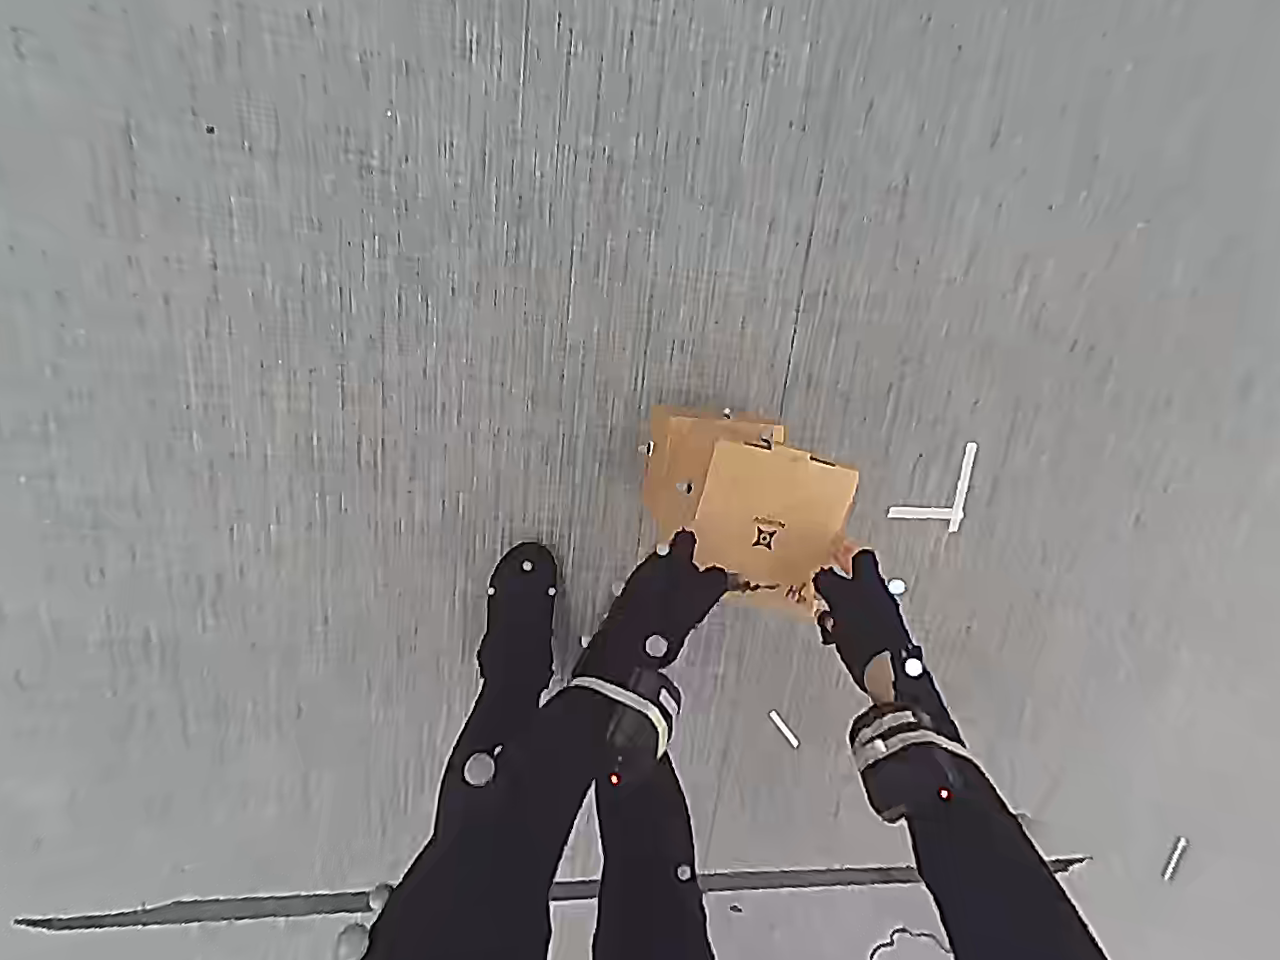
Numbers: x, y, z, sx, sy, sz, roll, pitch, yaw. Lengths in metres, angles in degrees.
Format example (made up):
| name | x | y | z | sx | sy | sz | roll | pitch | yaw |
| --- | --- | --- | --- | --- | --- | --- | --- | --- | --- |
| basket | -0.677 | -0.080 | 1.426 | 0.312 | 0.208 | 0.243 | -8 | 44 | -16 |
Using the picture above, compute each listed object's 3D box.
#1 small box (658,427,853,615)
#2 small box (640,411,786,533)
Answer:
| name | x | y | z | sx | sy | sz | roll | pitch | yaw |
| --- | --- | --- | --- | --- | --- | --- | --- | --- | --- |
| small box | 0.126 | 0.039 | 0.668 | 0.168 | 0.176 | 0.179 | 13 | 99 | -8 |
| small box | 0.104 | -0.015 | 0.850 | 0.179 | 0.176 | 0.168 | 3 | 102 | -9 |
